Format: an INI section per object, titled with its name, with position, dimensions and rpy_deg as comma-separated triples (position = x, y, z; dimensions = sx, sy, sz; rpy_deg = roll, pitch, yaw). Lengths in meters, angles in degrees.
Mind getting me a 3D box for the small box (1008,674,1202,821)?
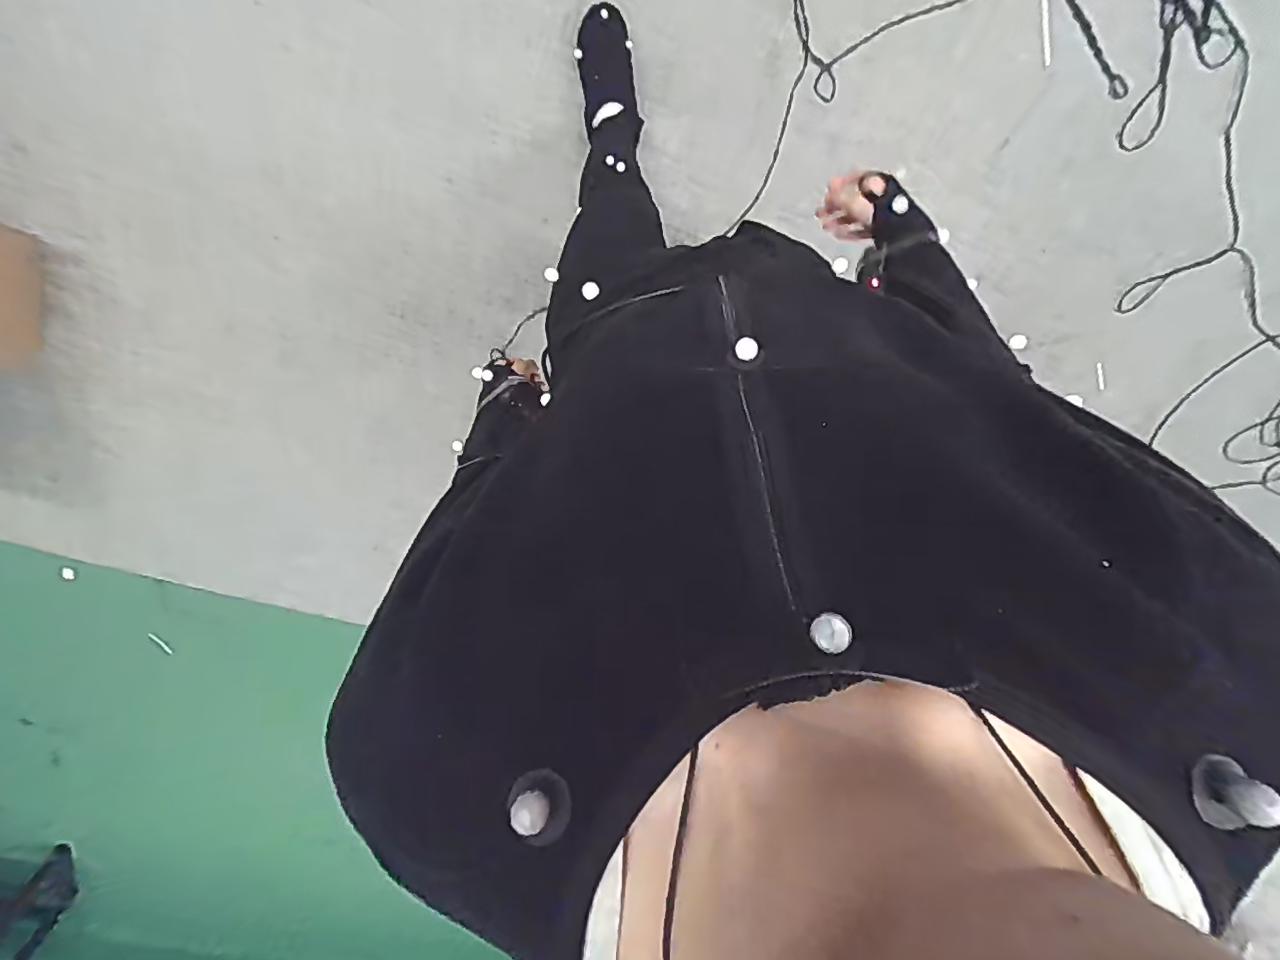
[small box]
position = 0.842, 0.488, 1.003
dimensions = 0.179, 0.176, 0.168
rpy_deg = 21, 119, -12
